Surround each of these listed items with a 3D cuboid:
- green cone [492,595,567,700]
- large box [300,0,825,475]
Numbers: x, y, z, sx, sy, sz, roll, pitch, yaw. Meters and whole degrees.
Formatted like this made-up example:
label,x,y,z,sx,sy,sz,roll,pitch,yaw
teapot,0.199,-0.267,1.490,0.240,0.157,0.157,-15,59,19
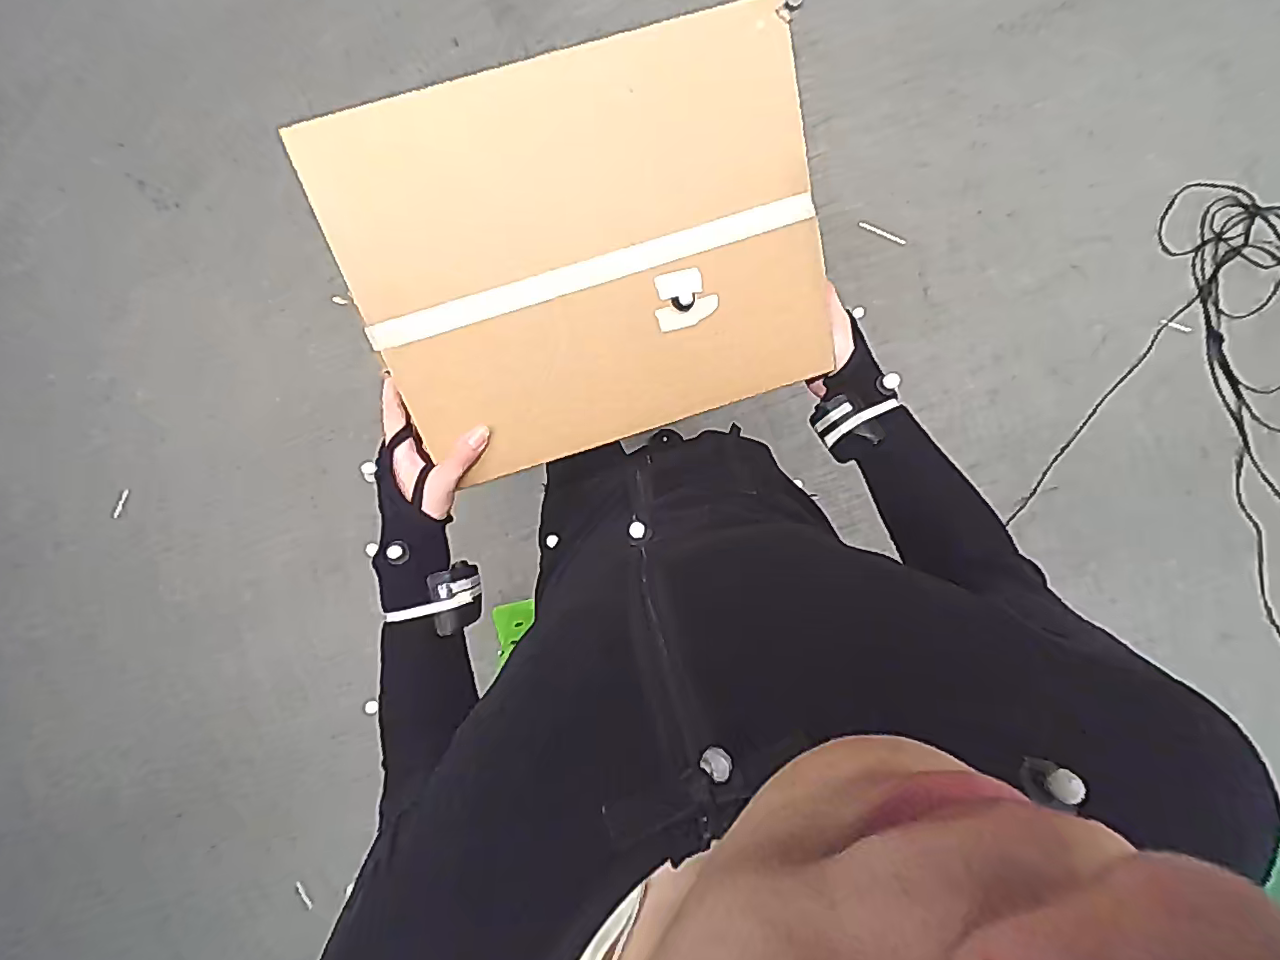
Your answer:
label,x,y,z,sx,sy,sz,roll,pitch,yaw
green cone,-0.345,0.492,1.506,0.200,0.368,0.202,-15,98,3
large box,-0.064,-0.250,0.620,0.408,0.320,0.320,-18,114,-3
